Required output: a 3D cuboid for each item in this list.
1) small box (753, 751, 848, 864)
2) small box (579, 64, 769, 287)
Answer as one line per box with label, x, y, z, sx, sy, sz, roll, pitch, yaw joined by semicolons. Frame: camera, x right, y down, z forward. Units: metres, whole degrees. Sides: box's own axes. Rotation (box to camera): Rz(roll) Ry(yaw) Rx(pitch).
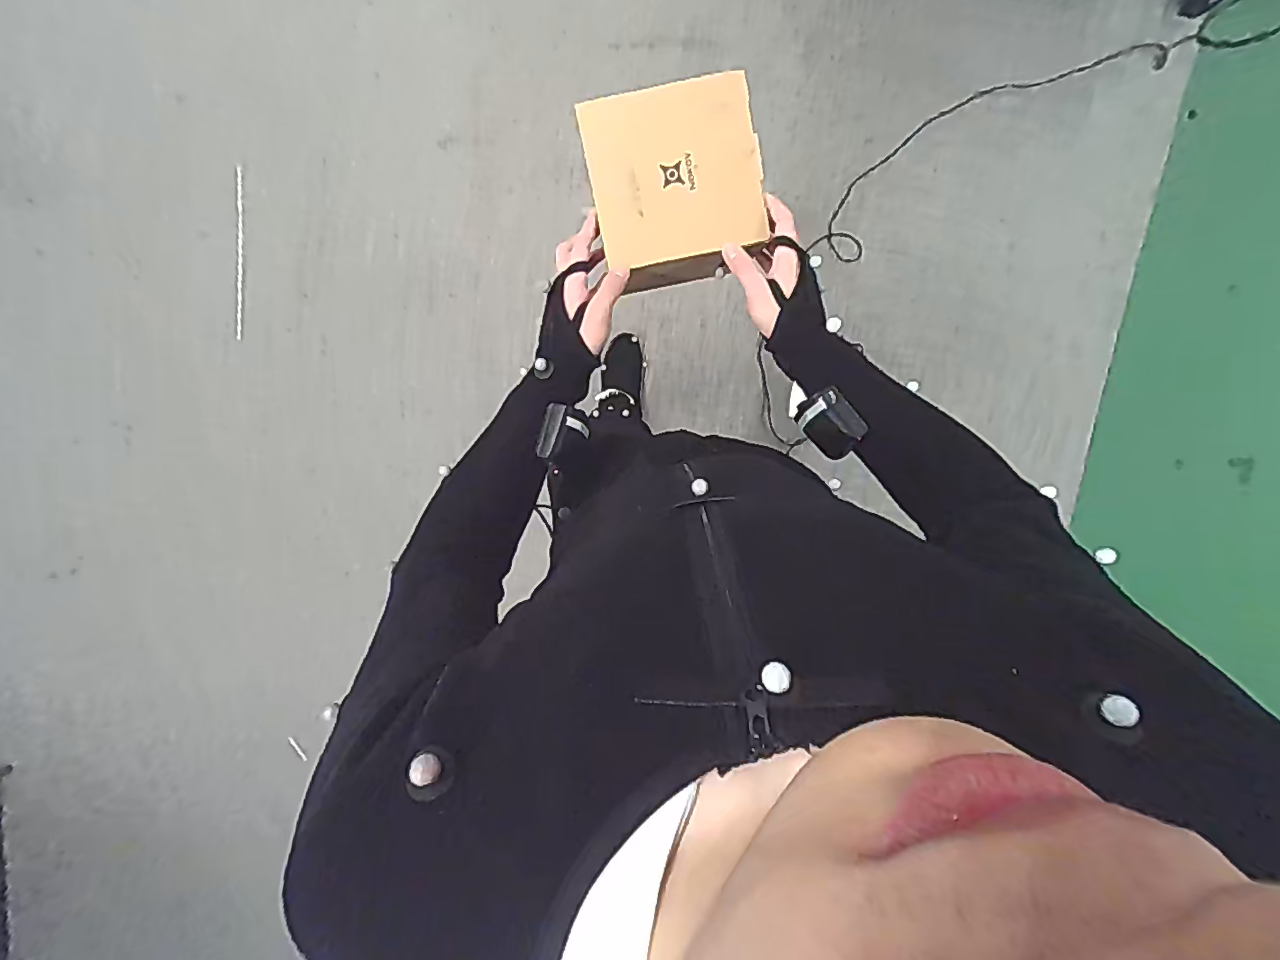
small box;0.417;0.862;1.441;0.179;0.176;0.168;19;100;0
small box;0.034;-0.332;0.624;0.179;0.176;0.168;-10;100;1
